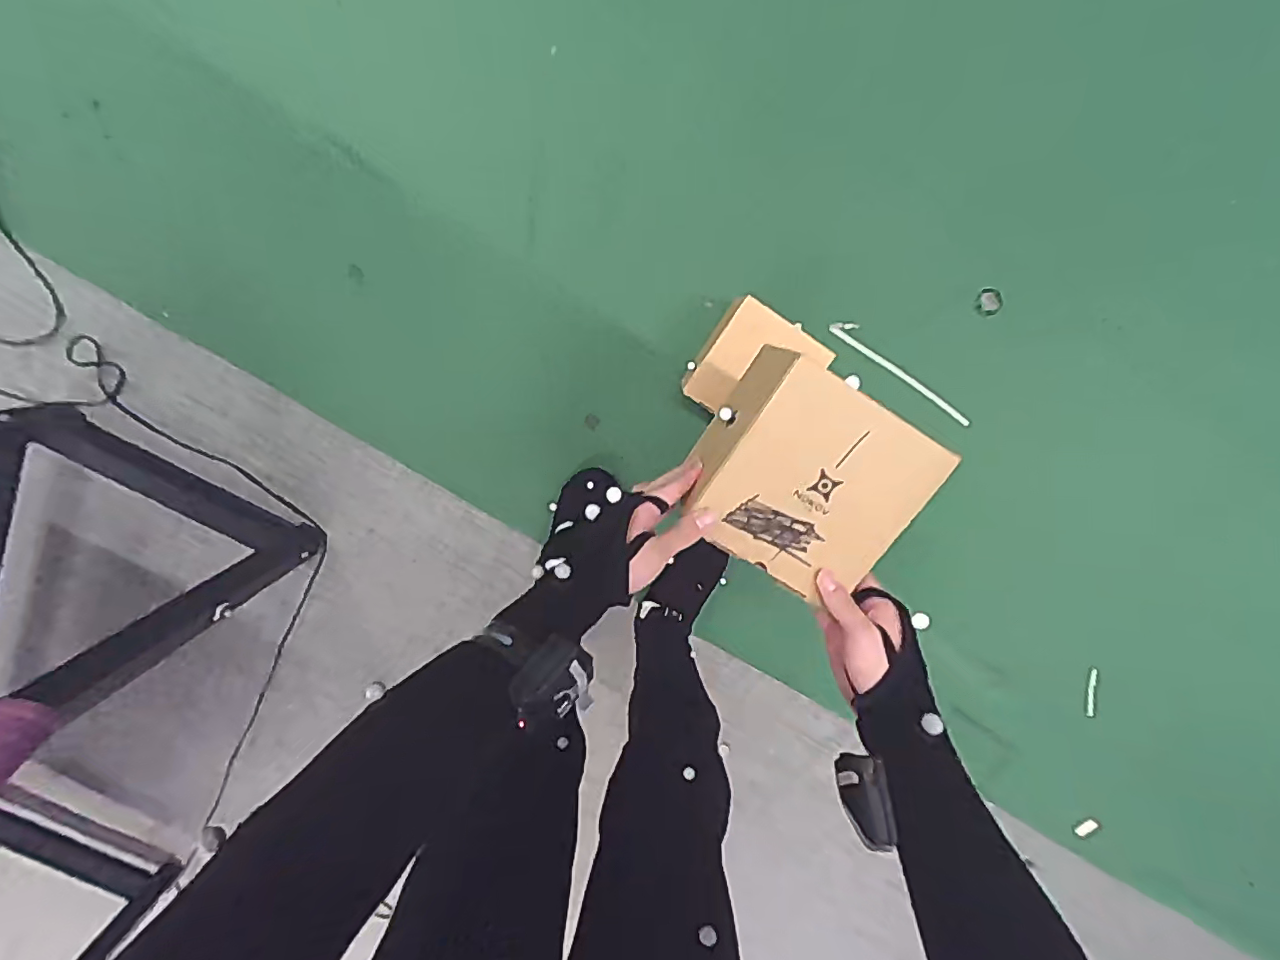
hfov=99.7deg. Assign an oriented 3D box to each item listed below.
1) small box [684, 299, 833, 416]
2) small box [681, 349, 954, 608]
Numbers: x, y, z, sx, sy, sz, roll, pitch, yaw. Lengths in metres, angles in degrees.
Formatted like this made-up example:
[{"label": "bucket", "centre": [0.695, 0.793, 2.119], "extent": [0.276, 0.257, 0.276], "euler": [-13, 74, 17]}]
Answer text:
[{"label": "small box", "centre": [0.183, -0.182, 0.906], "extent": [0.168, 0.176, 0.179], "euler": [32, 106, -7]}, {"label": "small box", "centre": [0.155, -0.014, 0.541], "extent": [0.168, 0.176, 0.179], "euler": [32, 103, -7]}]
